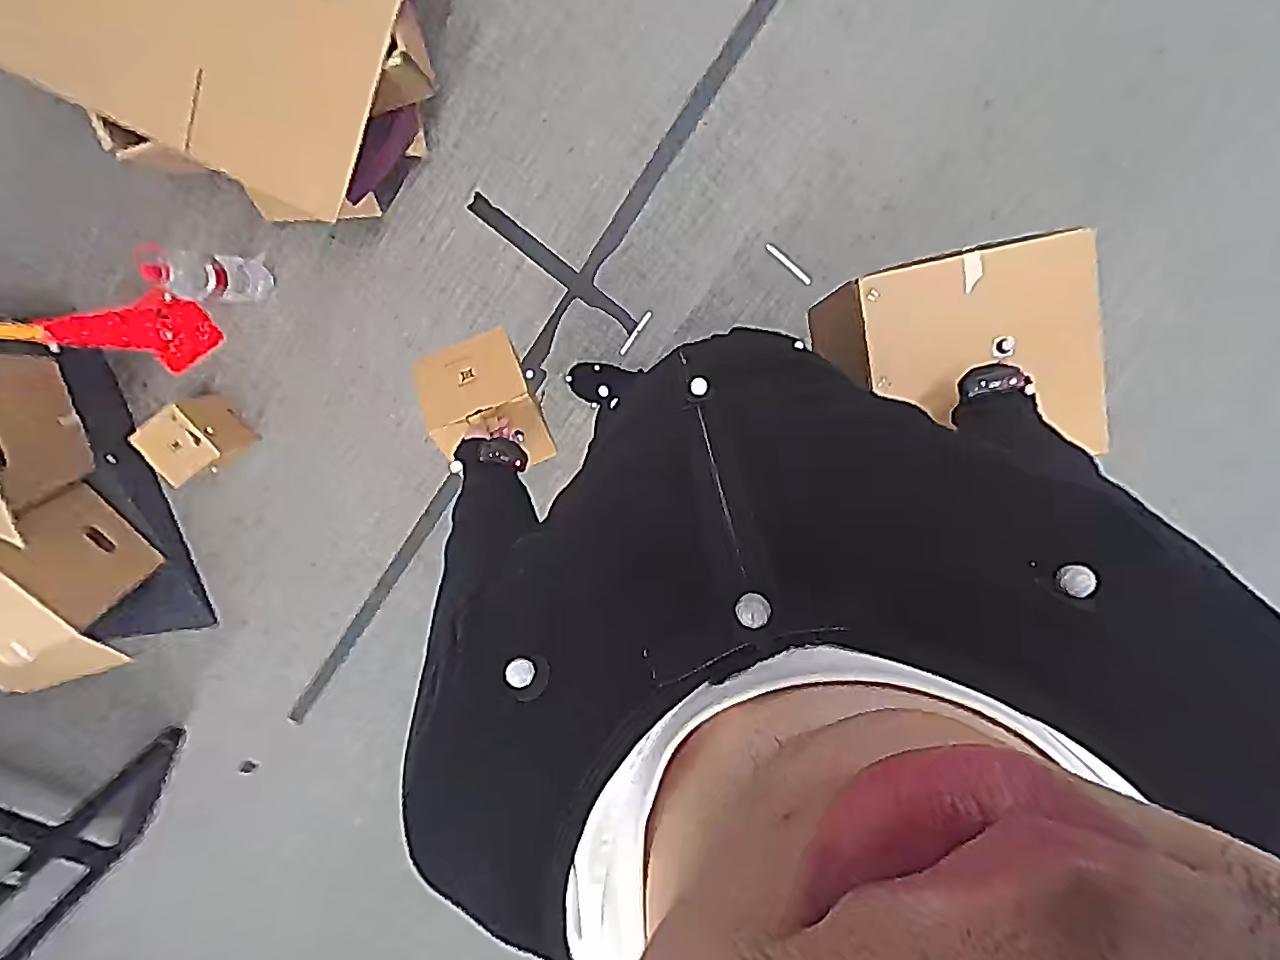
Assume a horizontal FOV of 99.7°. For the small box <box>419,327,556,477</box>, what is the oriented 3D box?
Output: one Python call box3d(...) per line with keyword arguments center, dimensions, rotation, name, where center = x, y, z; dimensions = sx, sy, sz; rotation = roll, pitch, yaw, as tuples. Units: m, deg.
box3d(center=(-0.260, -0.127, 0.942), dimensions=(0.168, 0.179, 0.176), rotation=(-21, 146, -5), name="small box")
